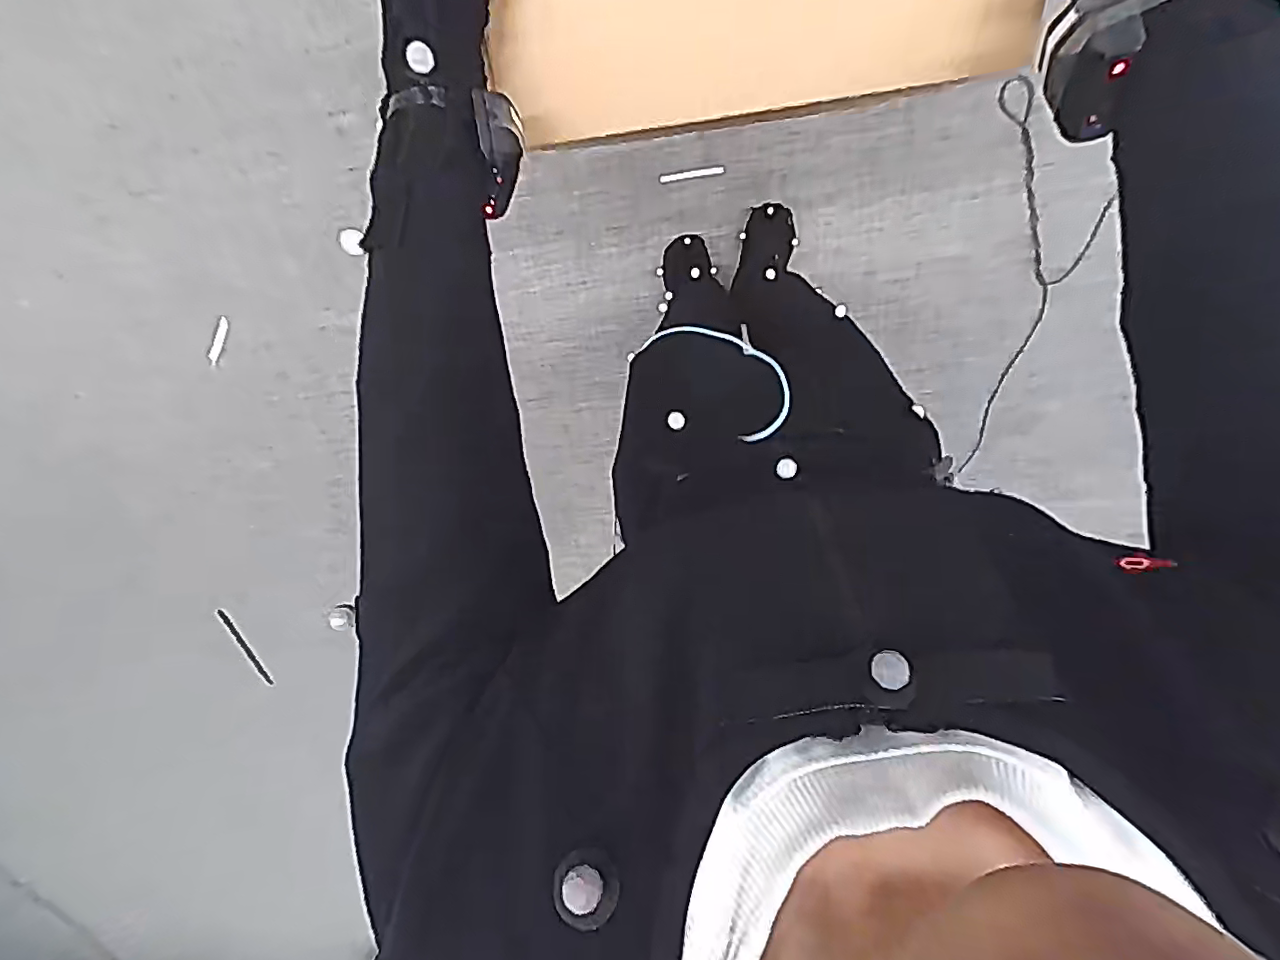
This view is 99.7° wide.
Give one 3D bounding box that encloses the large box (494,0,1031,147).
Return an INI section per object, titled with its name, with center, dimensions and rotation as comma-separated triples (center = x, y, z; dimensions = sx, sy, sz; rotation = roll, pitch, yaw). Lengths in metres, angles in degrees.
[large box]
center = 0.077, -0.512, 0.484
dimensions = 0.408, 0.320, 0.320
rotation = -6, 121, 5
